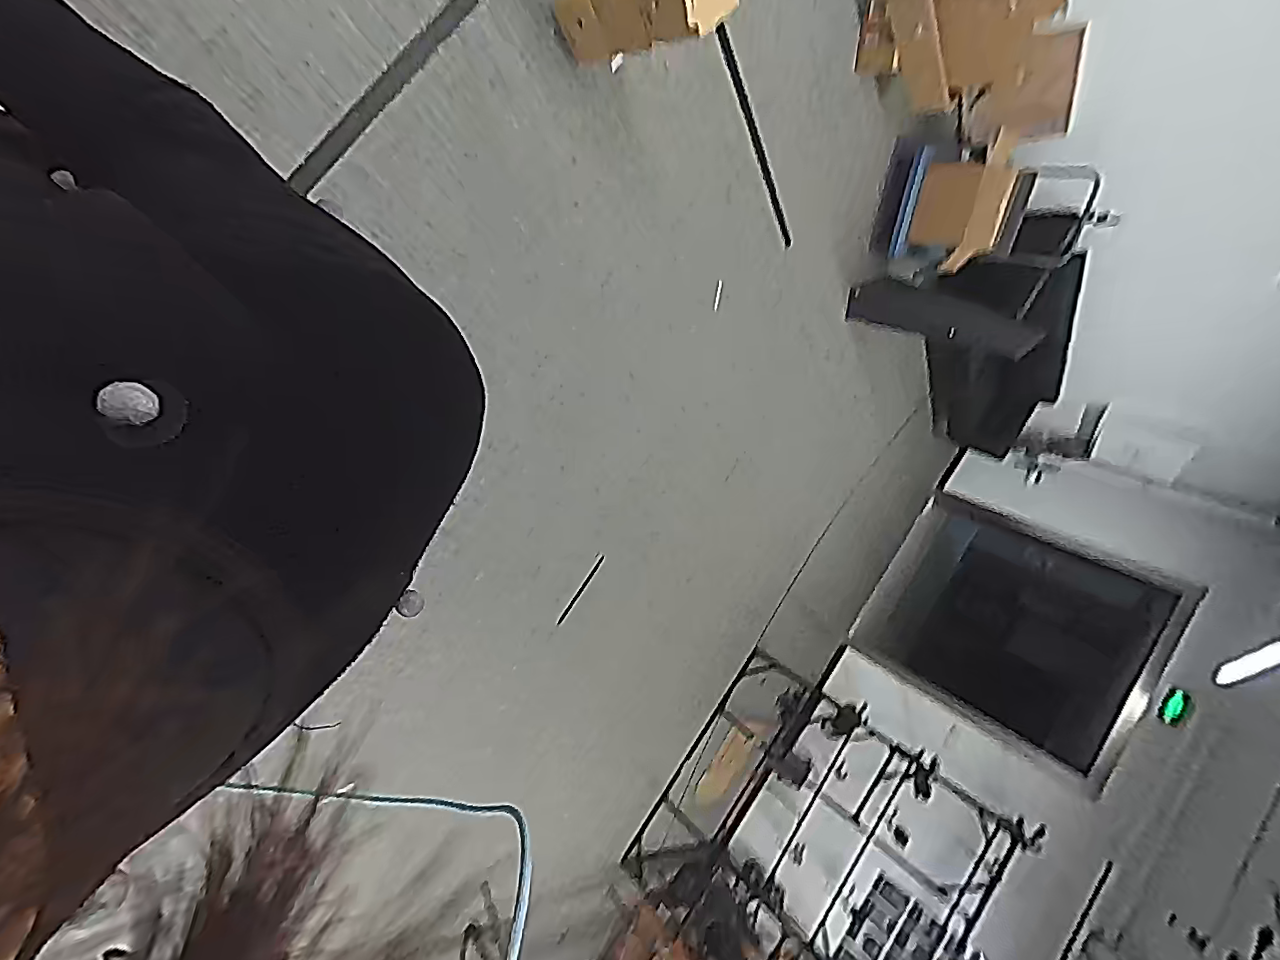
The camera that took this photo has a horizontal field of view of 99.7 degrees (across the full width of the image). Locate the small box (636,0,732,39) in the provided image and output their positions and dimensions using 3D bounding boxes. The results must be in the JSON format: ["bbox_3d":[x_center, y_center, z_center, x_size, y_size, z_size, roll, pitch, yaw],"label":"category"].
[{"bbox_3d":[0.101,-1.227,1.327,0.179,0.176,0.168,-50,141,-14],"label":"small box"}]

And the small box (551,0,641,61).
[{"bbox_3d":[-0.130,-1.336,1.537,0.179,0.176,0.168,-53,141,-10],"label":"small box"}]
